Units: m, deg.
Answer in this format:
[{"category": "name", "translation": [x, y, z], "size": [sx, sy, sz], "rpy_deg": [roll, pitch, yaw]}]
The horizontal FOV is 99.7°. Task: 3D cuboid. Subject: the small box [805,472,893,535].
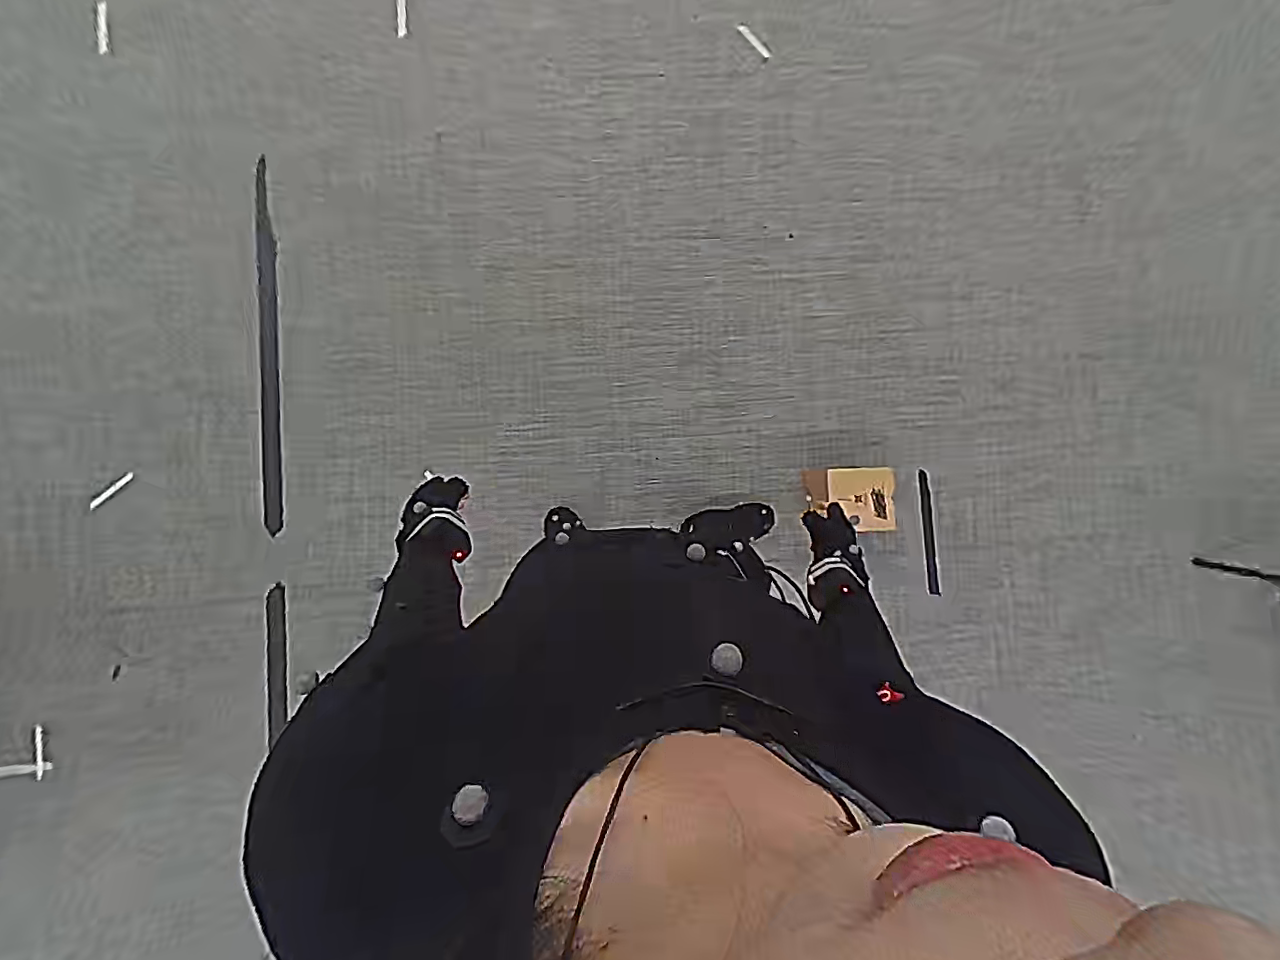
[{"category": "small box", "translation": [0.569, 0.061, 1.484], "size": [0.179, 0.176, 0.168], "rpy_deg": [-1, 88, -2]}]
